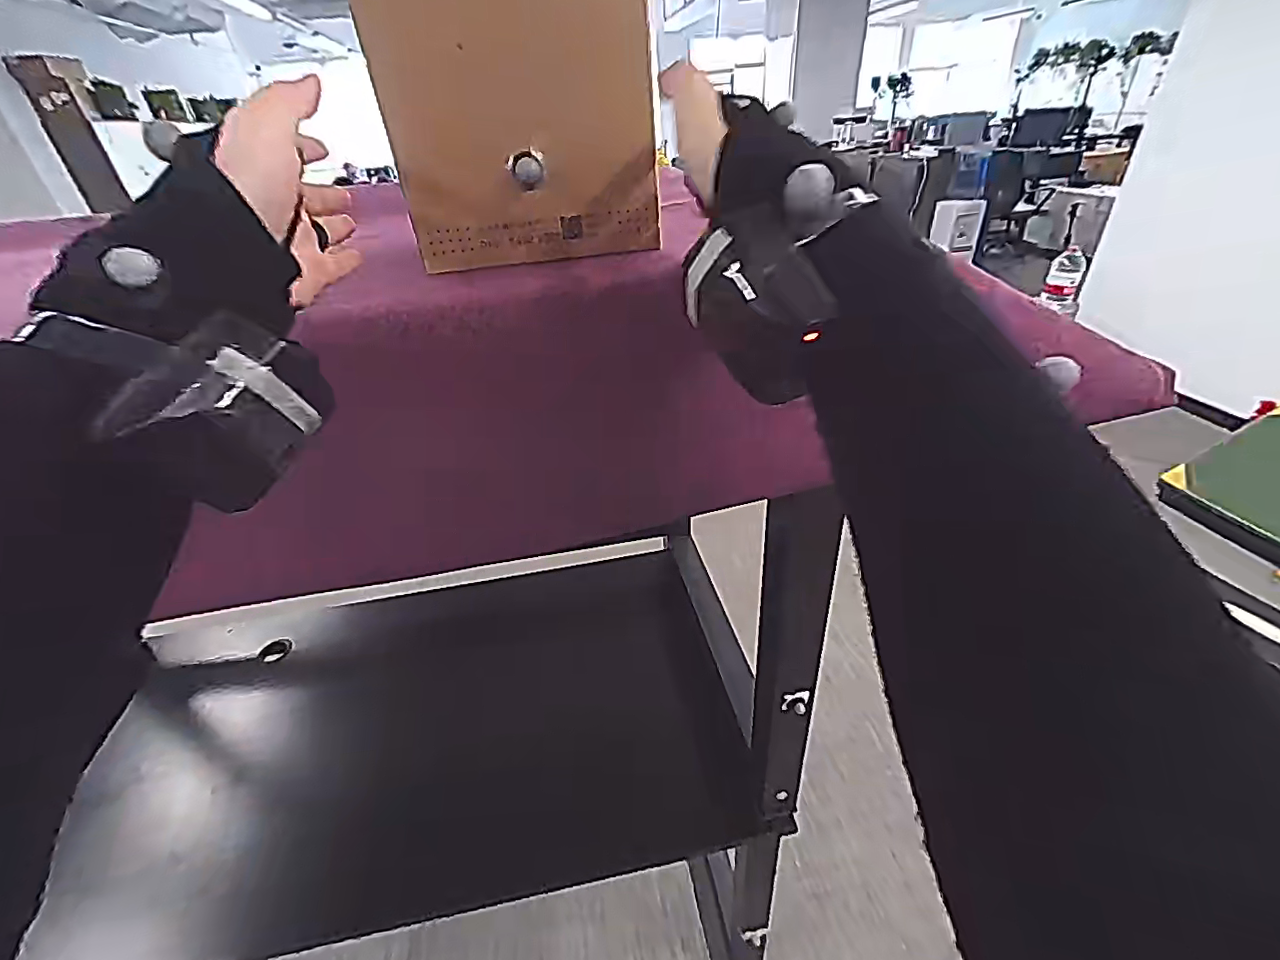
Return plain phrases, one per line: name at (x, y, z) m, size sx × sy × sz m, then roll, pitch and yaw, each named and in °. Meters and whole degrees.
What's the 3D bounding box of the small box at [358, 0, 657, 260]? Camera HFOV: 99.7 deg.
small box at (-0.083, -0.267, 0.397) m, size 0.168 × 0.176 × 0.179 m, roll -8°, pitch 33°, yaw -4°
